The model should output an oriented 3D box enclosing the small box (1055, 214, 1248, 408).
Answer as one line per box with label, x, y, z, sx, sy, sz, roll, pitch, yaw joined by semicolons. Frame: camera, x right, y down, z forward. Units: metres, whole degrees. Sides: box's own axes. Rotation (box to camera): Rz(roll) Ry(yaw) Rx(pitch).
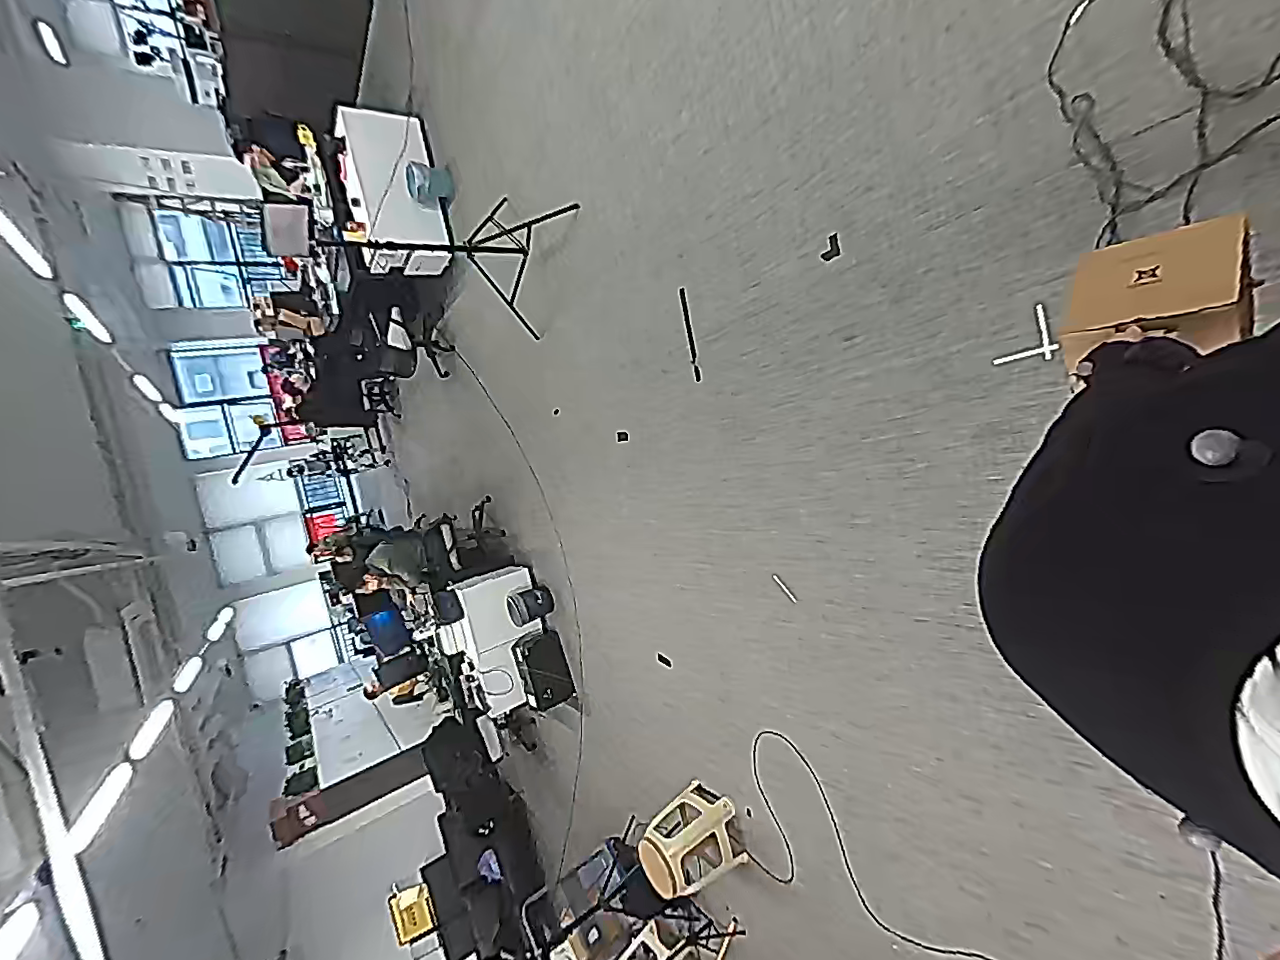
small box;0.699;-0.212;0.737;0.168;0.179;0.176;0;142;50
